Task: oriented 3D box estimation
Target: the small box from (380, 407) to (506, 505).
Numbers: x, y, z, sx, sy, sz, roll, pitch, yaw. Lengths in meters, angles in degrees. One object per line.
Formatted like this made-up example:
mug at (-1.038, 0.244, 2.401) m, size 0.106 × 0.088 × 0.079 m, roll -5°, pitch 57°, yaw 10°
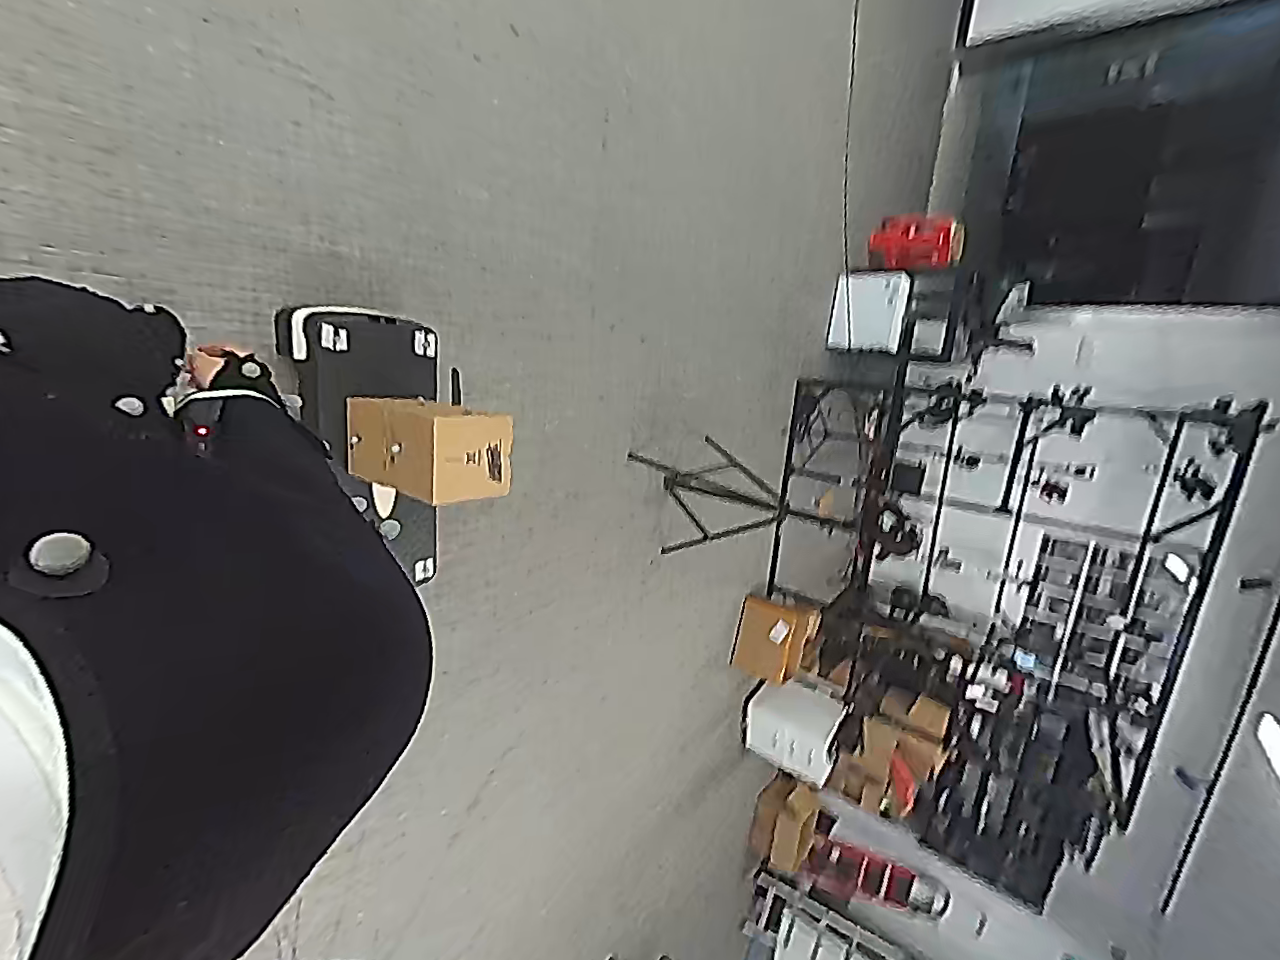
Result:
small box at (-0.394, -0.056, 1.085) m, size 0.179 × 0.176 × 0.168 m, roll -8°, pitch 108°, yaw -52°

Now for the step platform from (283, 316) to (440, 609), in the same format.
step platform at (-0.659, -0.039, 1.312) m, size 0.286 × 0.204 × 0.684 m, roll -11°, pitch 109°, yaw -52°

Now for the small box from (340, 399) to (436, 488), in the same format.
small box at (-0.526, -0.085, 1.180) m, size 0.179 × 0.176 × 0.168 m, roll -7°, pitch 106°, yaw -52°
